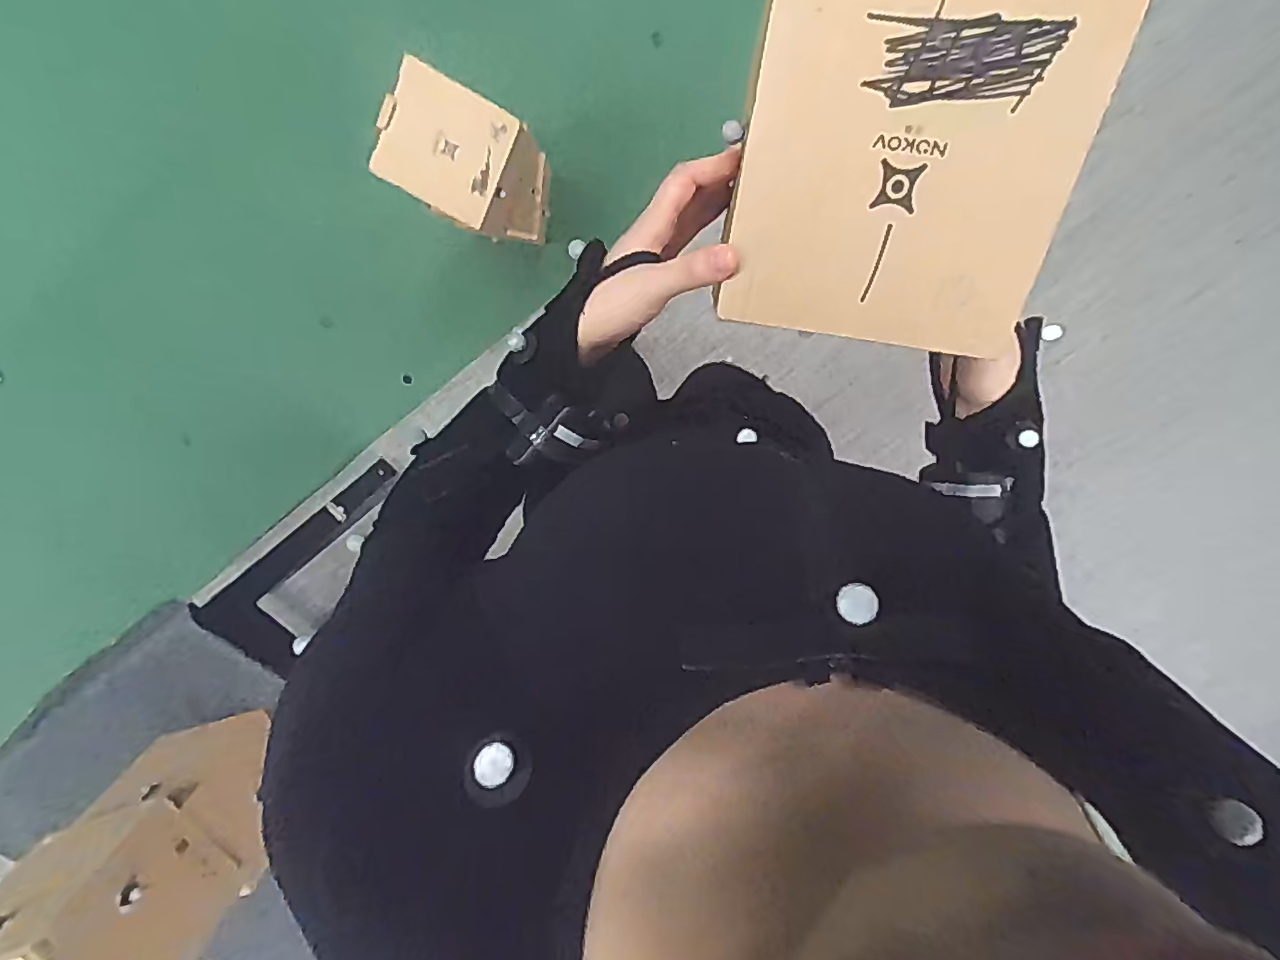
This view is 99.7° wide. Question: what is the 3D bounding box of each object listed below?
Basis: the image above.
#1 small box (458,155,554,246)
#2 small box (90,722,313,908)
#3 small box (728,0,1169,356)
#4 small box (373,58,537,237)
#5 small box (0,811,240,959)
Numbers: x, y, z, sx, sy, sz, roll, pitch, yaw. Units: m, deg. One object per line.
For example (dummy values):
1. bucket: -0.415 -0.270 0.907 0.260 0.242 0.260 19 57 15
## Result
1. small box: -0.284 -0.609 1.172 0.179 0.176 0.168 7 110 -6
2. small box: -0.602 0.473 0.760 0.179 0.176 0.168 -17 110 5
3. small box: 0.152 -0.193 0.344 0.168 0.176 0.179 10 115 3
4. small box: -0.282 -0.506 0.859 0.179 0.176 0.168 25 107 -12
5. small box: -0.597 0.511 0.601 0.179 0.176 0.168 -21 109 7
